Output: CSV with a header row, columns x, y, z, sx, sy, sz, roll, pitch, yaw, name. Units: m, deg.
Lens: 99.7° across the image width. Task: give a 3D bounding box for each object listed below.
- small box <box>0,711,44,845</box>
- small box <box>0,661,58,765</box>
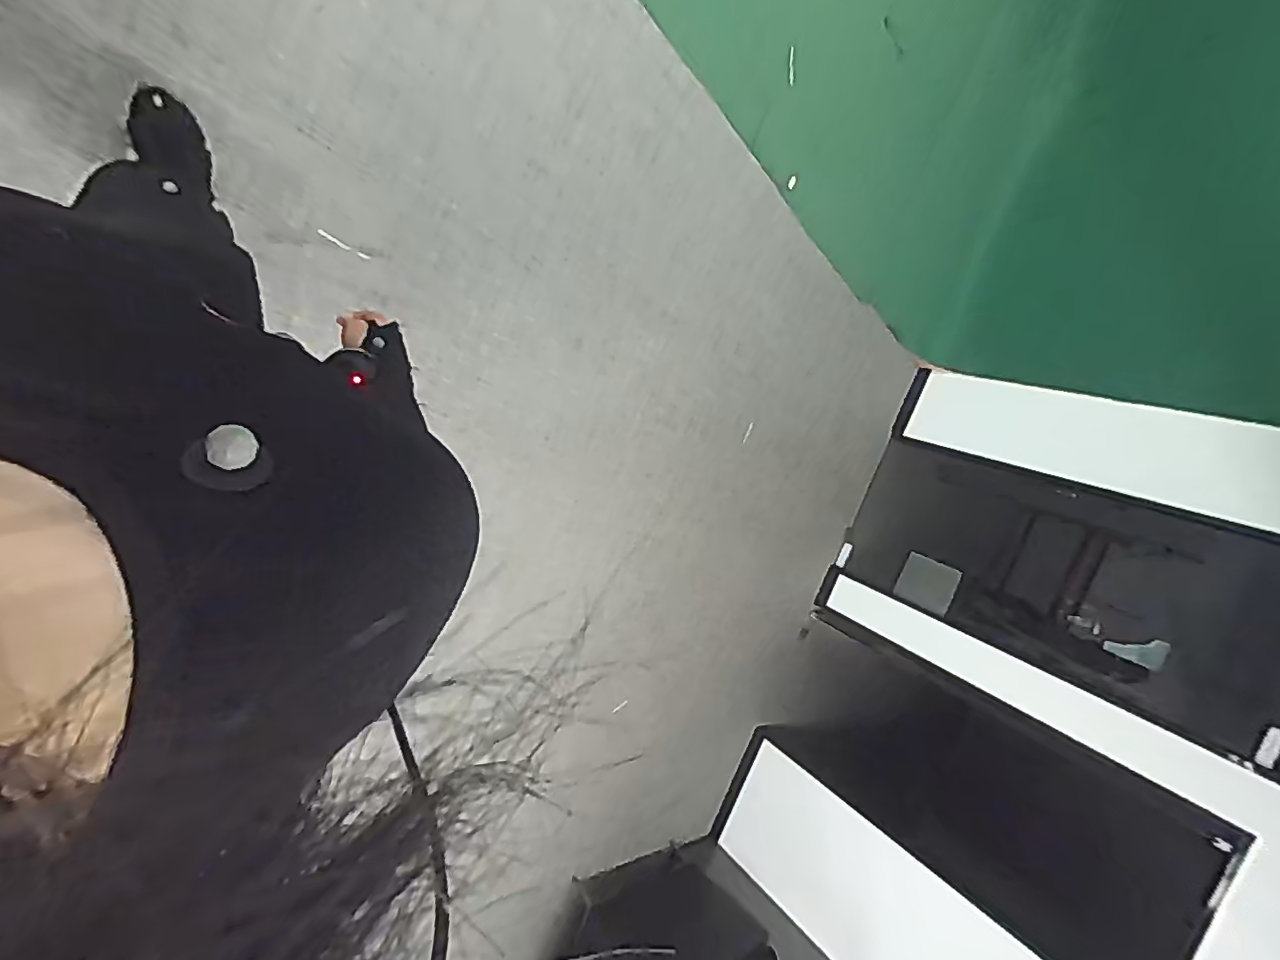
x,y,z,sx,sy,sz,roll,pitch,yaw,name
-1.189,0.542,0.939,0.179,0.176,0.168,-18,120,-37,small box
-1.295,0.492,1.055,0.179,0.176,0.168,-24,124,-34,small box
